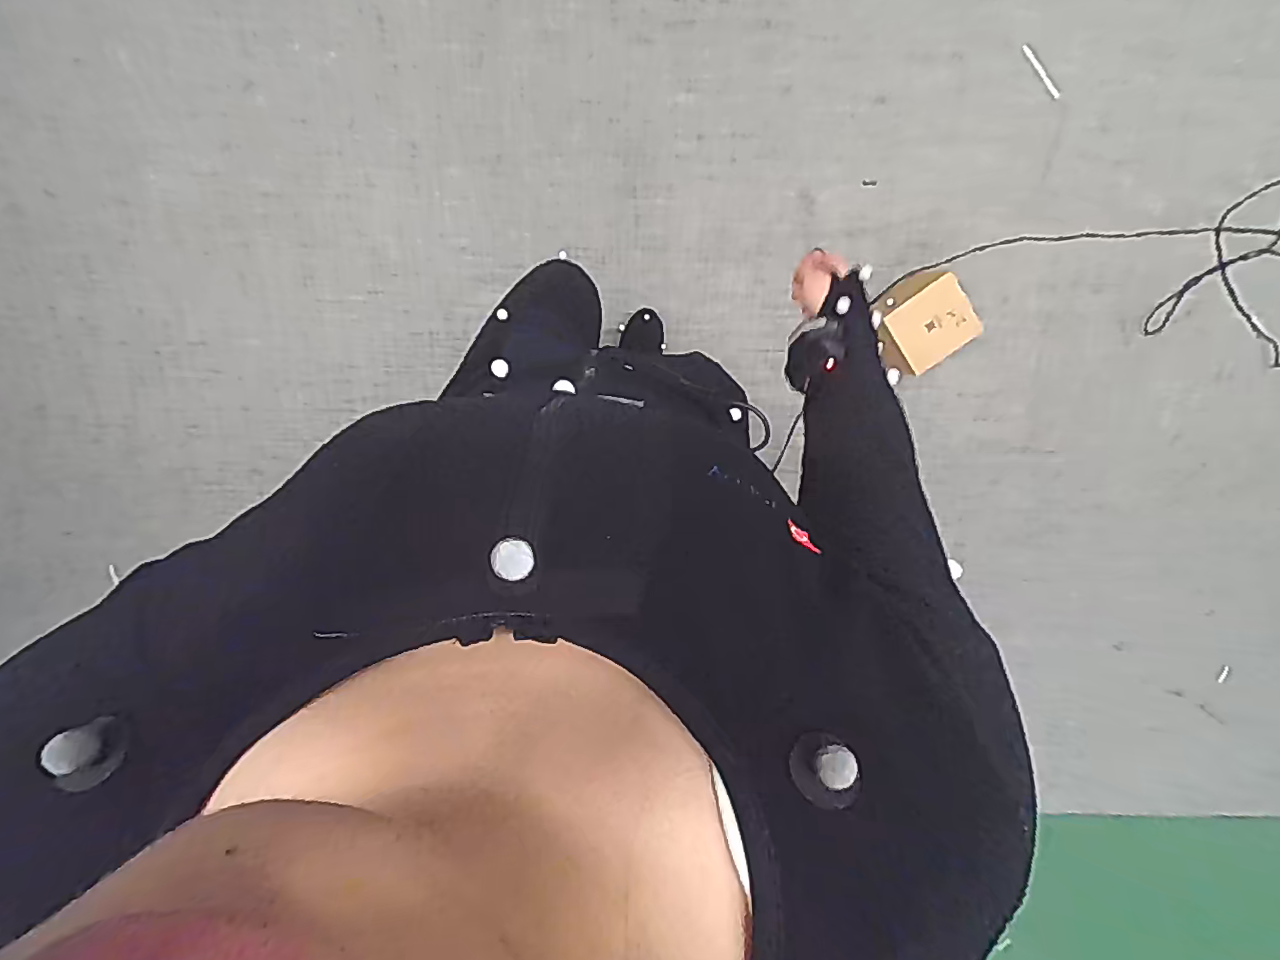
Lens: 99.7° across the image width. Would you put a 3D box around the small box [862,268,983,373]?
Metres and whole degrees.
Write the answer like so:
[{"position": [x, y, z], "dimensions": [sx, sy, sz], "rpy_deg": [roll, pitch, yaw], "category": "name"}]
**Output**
[{"position": [0.657, -0.379, 1.287], "dimensions": [0.179, 0.176, 0.168], "rpy_deg": [-36, 105, 12], "category": "small box"}]
